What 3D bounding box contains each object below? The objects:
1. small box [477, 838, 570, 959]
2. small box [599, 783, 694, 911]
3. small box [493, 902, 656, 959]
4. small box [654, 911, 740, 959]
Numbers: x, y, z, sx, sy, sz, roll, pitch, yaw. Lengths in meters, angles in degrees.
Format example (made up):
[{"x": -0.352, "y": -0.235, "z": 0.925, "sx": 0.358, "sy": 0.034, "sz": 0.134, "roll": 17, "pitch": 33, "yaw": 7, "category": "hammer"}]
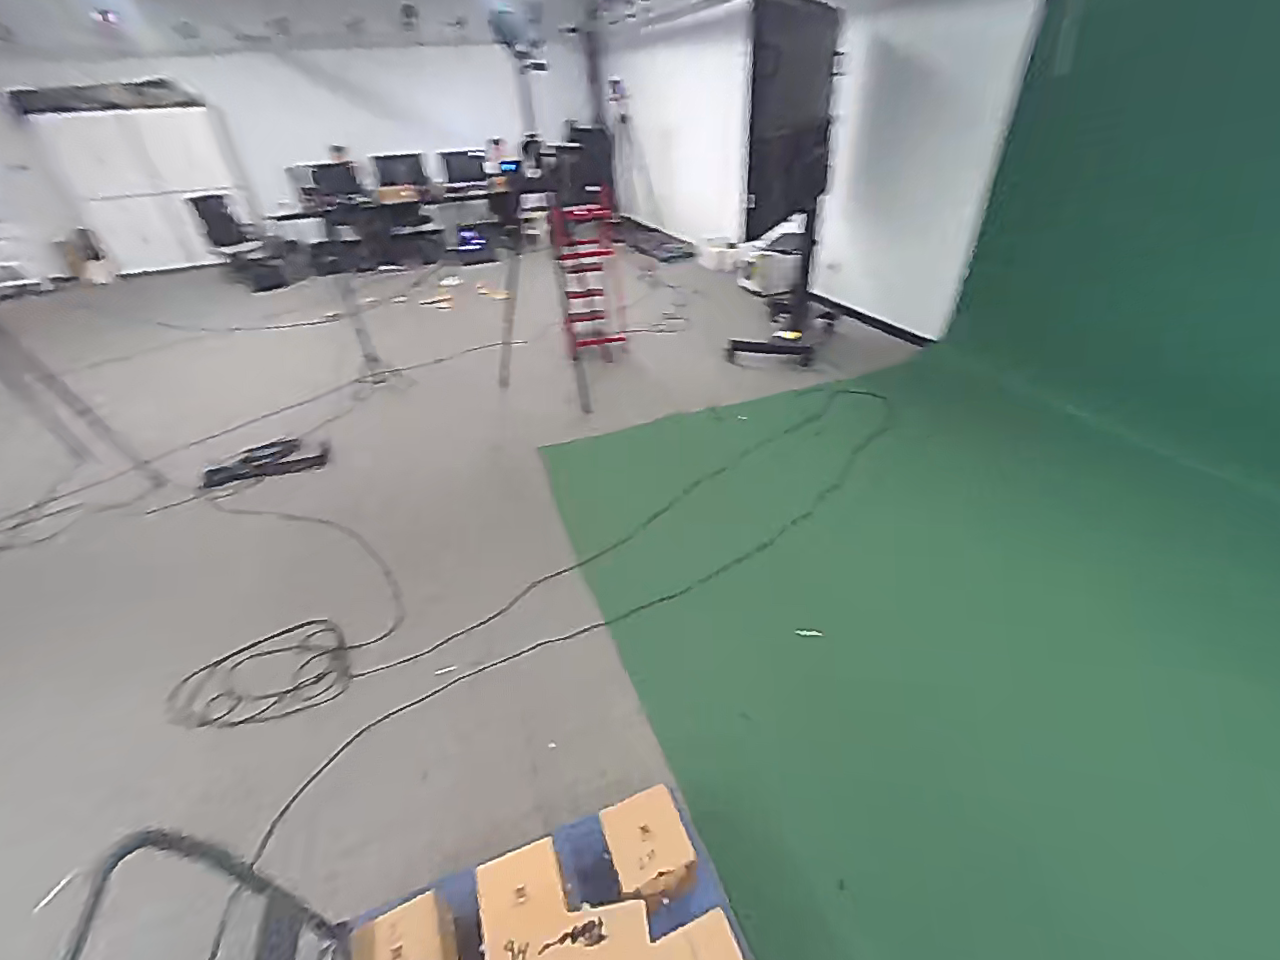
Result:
[{"x": -0.244, "y": 0.926, "z": 1.163, "sx": 0.168, "sy": 0.176, "sz": 0.179, "roll": -15, "pitch": 38, "yaw": -16, "category": "small box"}, {"x": 0.014, "y": 0.849, "z": 1.241, "sx": 0.168, "sy": 0.176, "sz": 0.179, "roll": -17, "pitch": 38, "yaw": -15, "category": "small box"}, {"x": -0.057, "y": 0.572, "z": 0.541, "sx": 0.168, "sy": 0.176, "sz": 0.179, "roll": -5, "pitch": 31, "yaw": -6, "category": "small box"}, {"x": 0.121, "y": 0.999, "z": 1.049, "sx": 0.168, "sy": 0.176, "sz": 0.179, "roll": -15, "pitch": 36, "yaw": -17, "category": "small box"}]
